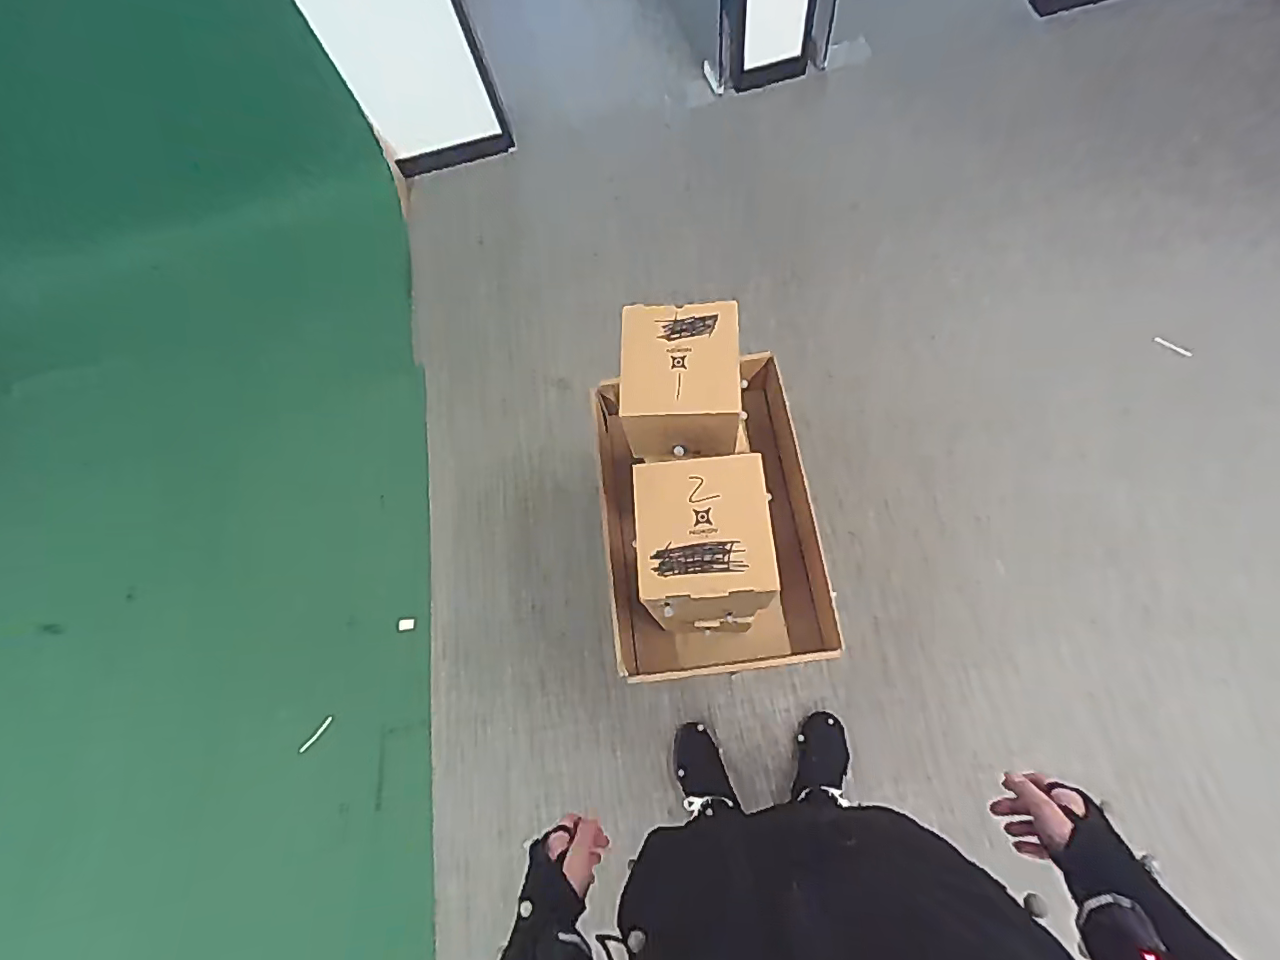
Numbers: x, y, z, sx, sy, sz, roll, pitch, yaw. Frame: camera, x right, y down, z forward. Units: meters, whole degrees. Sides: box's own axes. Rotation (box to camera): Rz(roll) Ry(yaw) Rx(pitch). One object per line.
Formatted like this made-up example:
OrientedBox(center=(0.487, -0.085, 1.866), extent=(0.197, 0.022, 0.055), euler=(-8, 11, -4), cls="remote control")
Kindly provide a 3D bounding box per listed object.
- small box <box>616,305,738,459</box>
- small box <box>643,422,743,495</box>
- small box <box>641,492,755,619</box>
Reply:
OrientedBox(center=(0.060, -0.143, 0.826), extent=(0.168, 0.176, 0.179), euler=(0, 73, 7), cls="small box")
OrientedBox(center=(0.083, -0.088, 0.979), extent=(0.168, 0.176, 0.179), euler=(-9, 72, 3), cls="small box")
OrientedBox(center=(0.095, 0.133, 0.893), extent=(0.168, 0.176, 0.179), euler=(-5, 69, 5), cls="small box")
